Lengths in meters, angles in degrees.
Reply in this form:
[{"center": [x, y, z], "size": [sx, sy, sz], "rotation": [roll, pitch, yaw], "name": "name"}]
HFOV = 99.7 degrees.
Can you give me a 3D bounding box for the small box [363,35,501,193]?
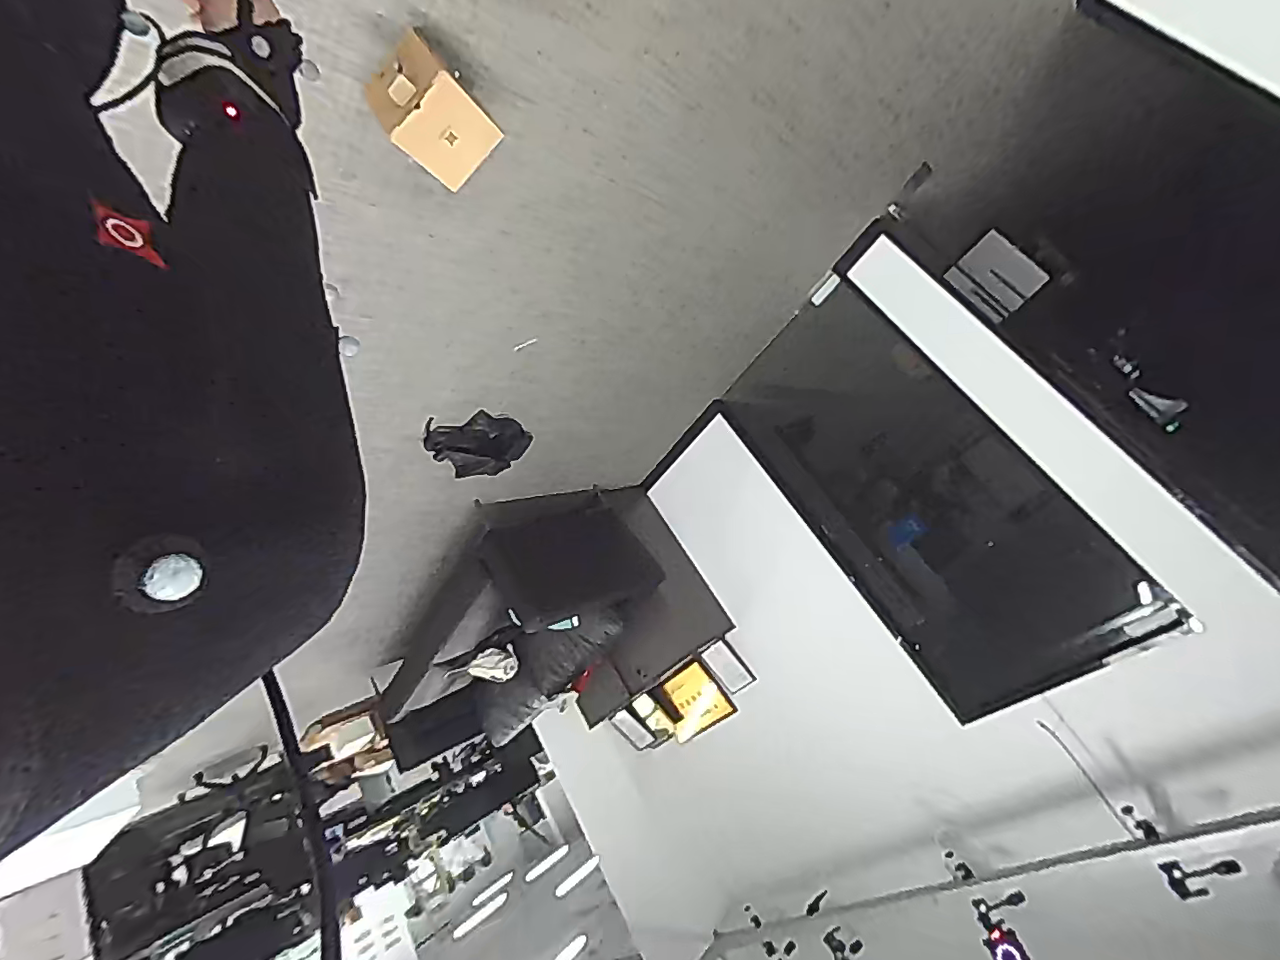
[{"center": [-0.427, -0.749, 1.112], "size": [0.168, 0.176, 0.179], "rotation": [-39, 158, 16], "name": "small box"}]
